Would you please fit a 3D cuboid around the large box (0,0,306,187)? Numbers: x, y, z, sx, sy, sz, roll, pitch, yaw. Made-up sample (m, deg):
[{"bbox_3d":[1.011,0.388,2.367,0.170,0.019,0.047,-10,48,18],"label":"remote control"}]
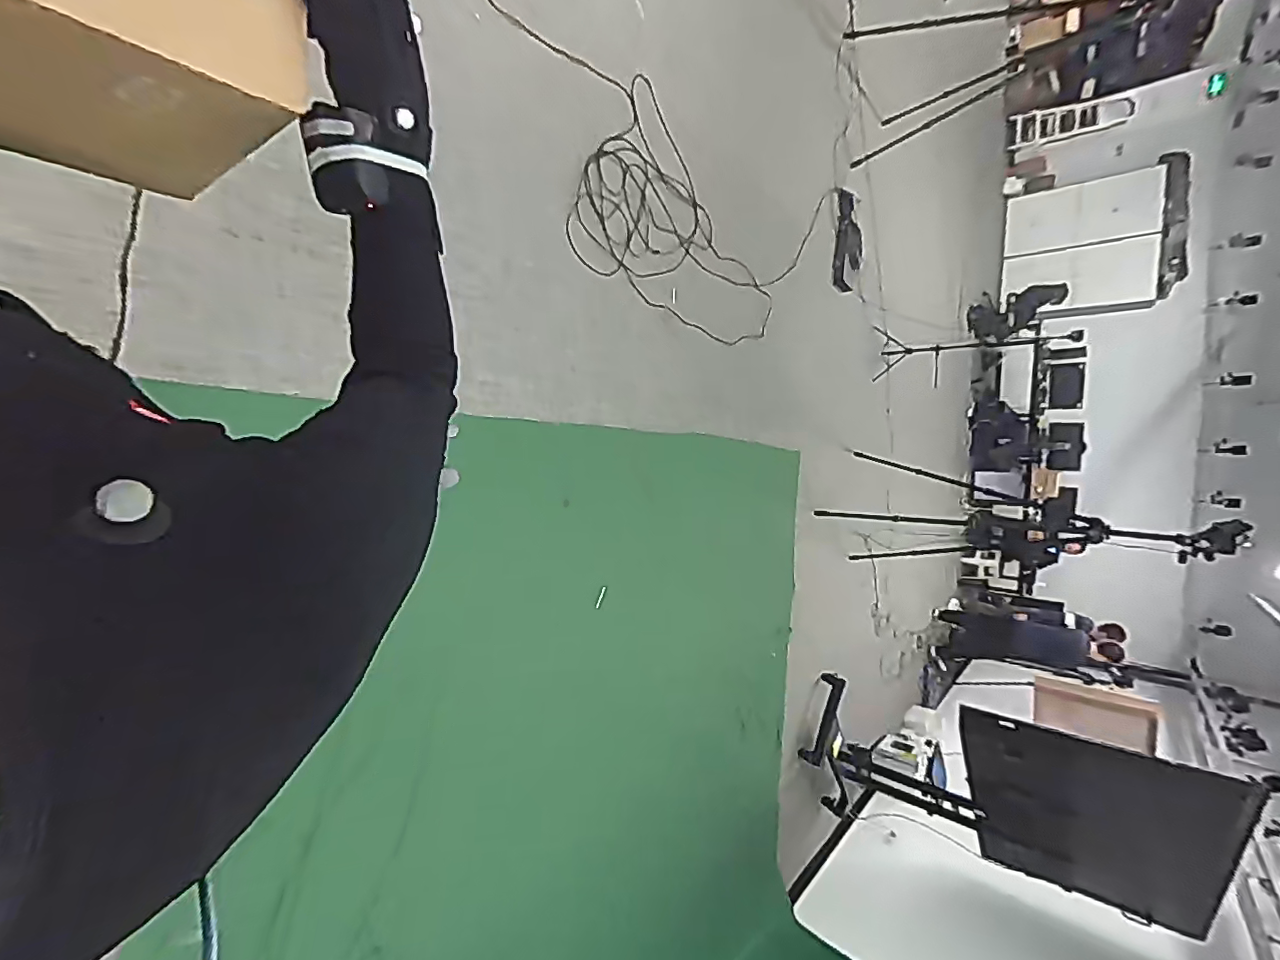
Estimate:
[{"bbox_3d":[-0.466,-0.419,0.300,0.408,0.320,0.320,-5,102,-50],"label":"large box"}]
